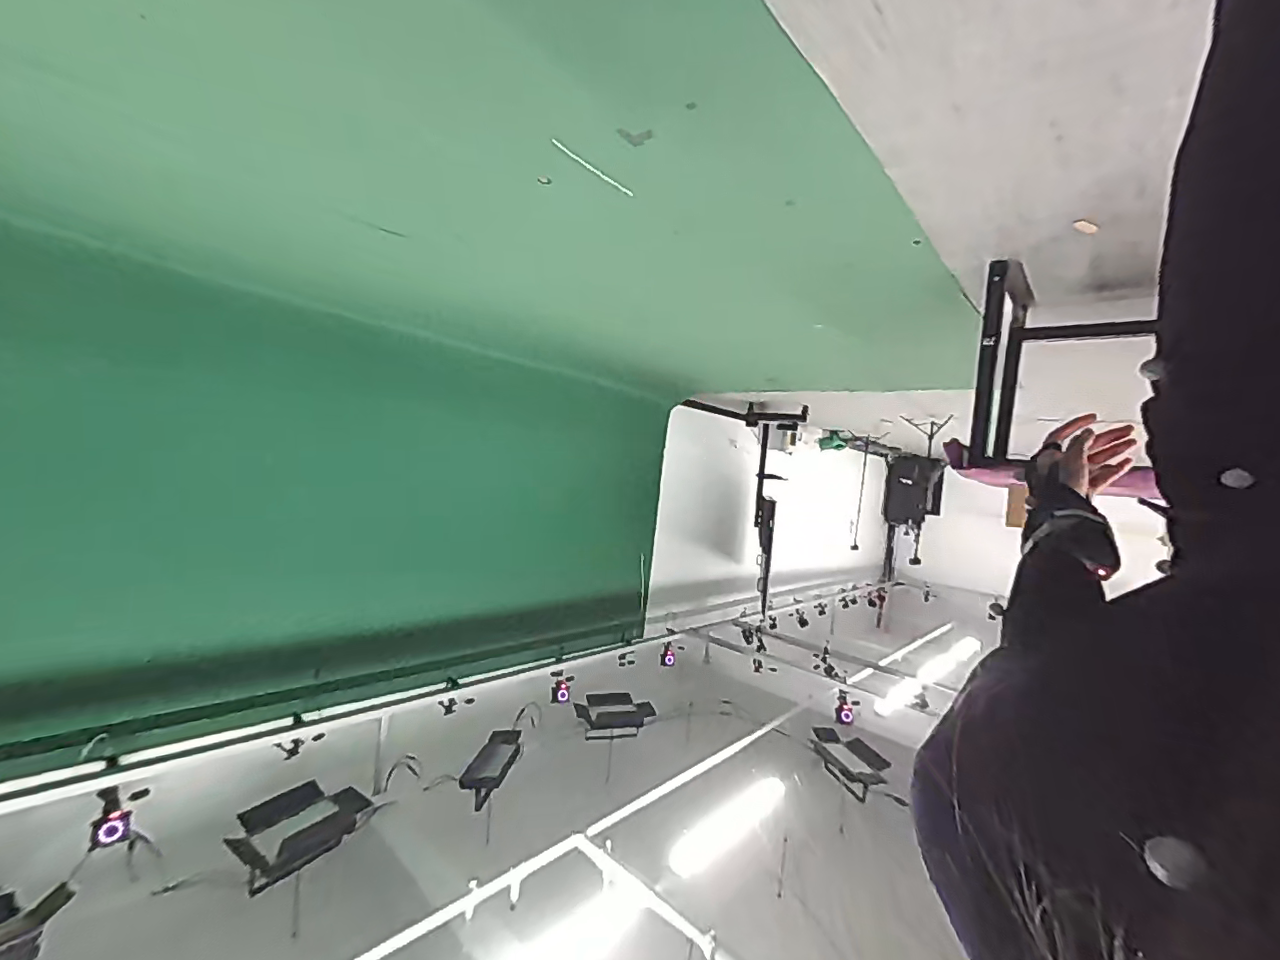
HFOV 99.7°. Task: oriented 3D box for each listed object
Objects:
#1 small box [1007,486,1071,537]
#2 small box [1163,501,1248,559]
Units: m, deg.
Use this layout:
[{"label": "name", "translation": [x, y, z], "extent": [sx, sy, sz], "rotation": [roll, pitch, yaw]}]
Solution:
[{"label": "small box", "translation": [1.509, 0.119, 2.039], "extent": [0.179, 0.176, 0.168], "rotation": [8, 178, -44]}, {"label": "small box", "translation": [1.847, 0.160, 1.770], "extent": [0.179, 0.176, 0.168], "rotation": [6, 178, 41]}]
